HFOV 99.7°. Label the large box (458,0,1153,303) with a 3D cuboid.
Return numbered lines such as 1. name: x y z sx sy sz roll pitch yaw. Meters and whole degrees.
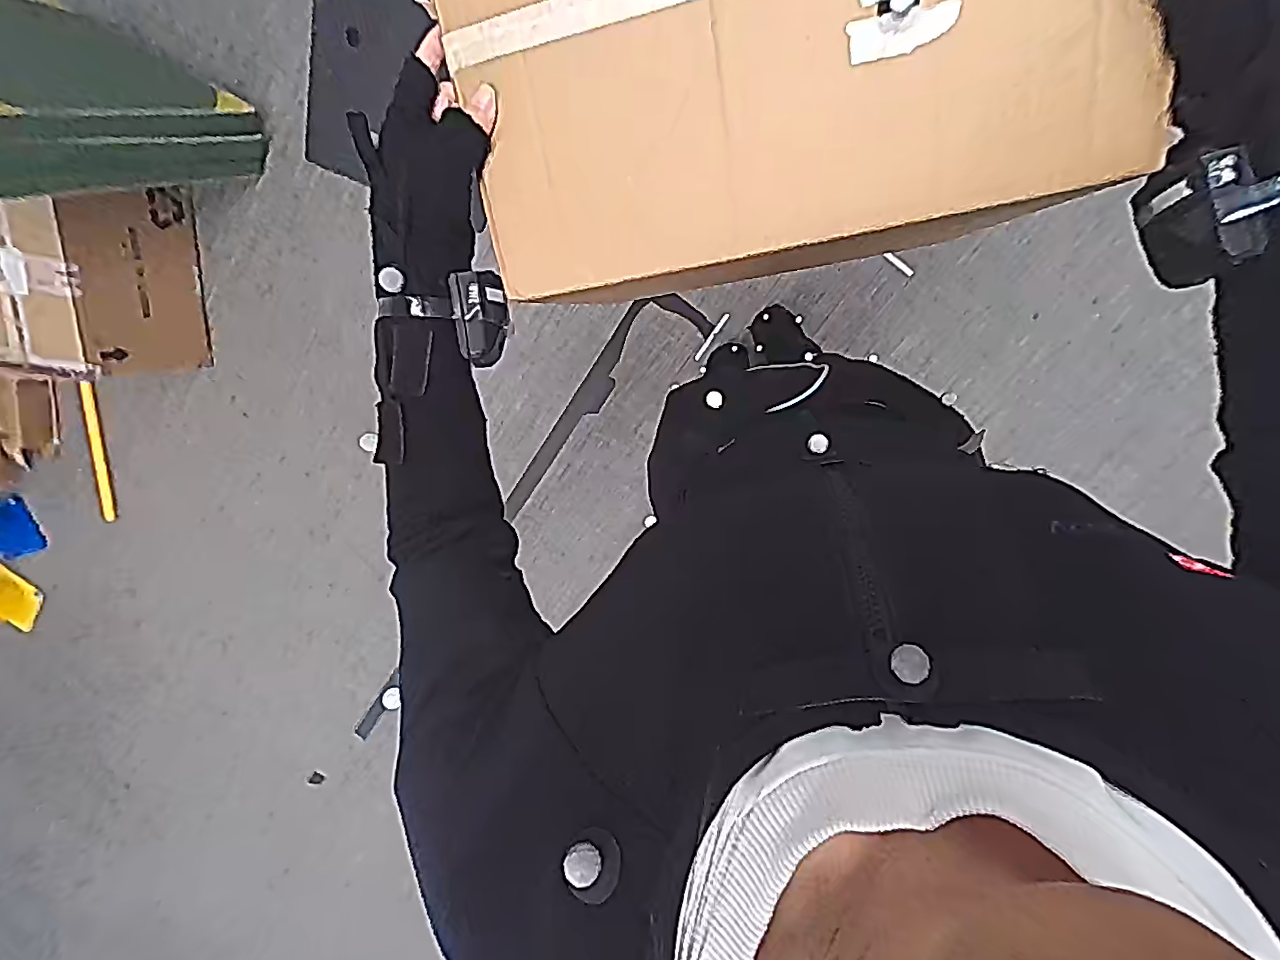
1. large box: 0.101 -0.350 0.461 0.408 0.320 0.320 -7 106 11
